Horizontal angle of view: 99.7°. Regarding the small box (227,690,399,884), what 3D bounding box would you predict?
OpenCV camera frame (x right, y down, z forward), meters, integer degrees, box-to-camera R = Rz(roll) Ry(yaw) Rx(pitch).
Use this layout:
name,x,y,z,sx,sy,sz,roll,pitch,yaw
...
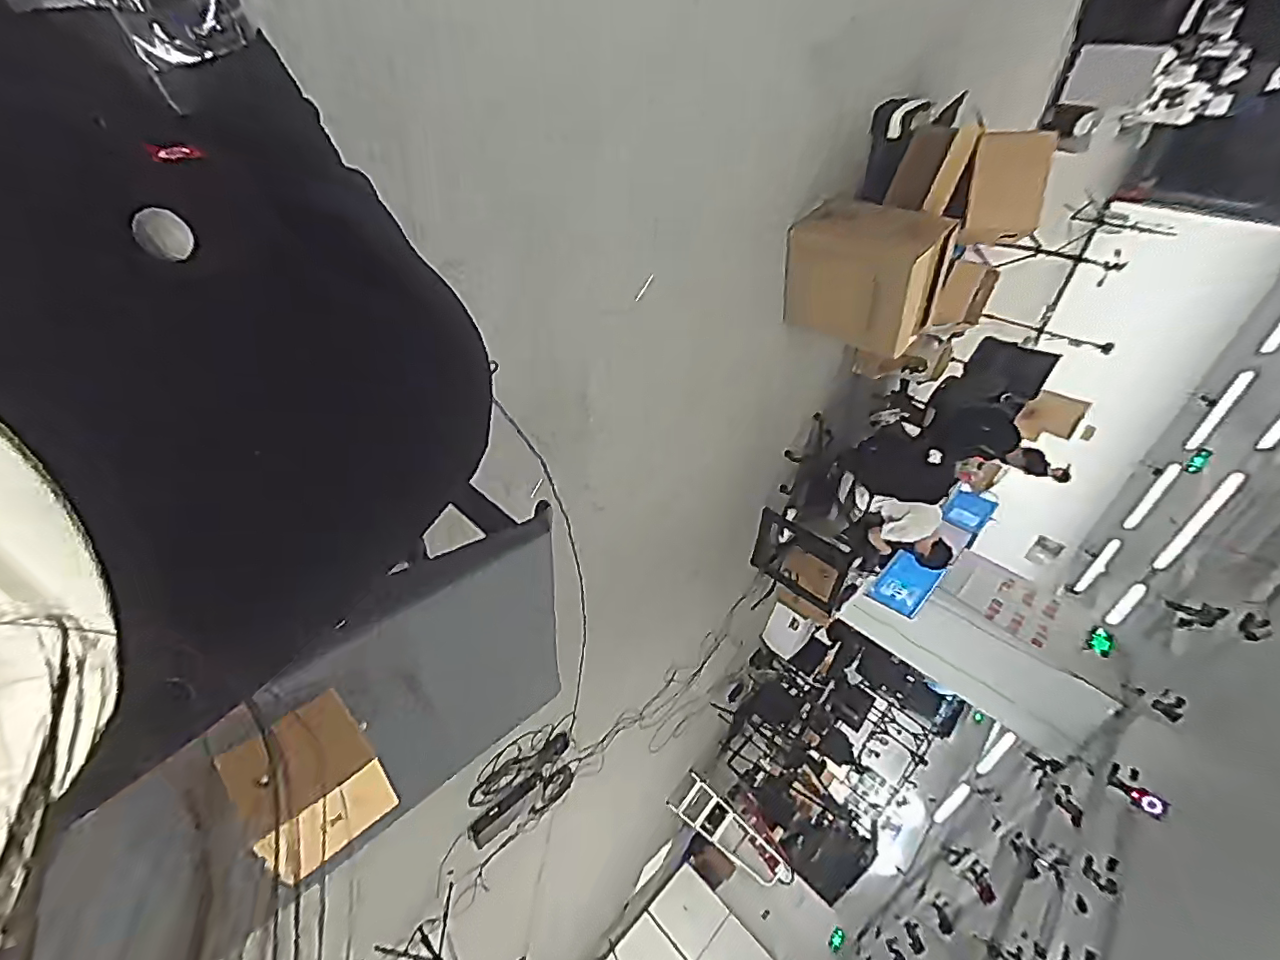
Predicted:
name,x,y,z,sx,sy,sz,roll,pitch,yaw
small box,-0.526,0.485,0.872,0.179,0.176,0.168,-32,141,-37
